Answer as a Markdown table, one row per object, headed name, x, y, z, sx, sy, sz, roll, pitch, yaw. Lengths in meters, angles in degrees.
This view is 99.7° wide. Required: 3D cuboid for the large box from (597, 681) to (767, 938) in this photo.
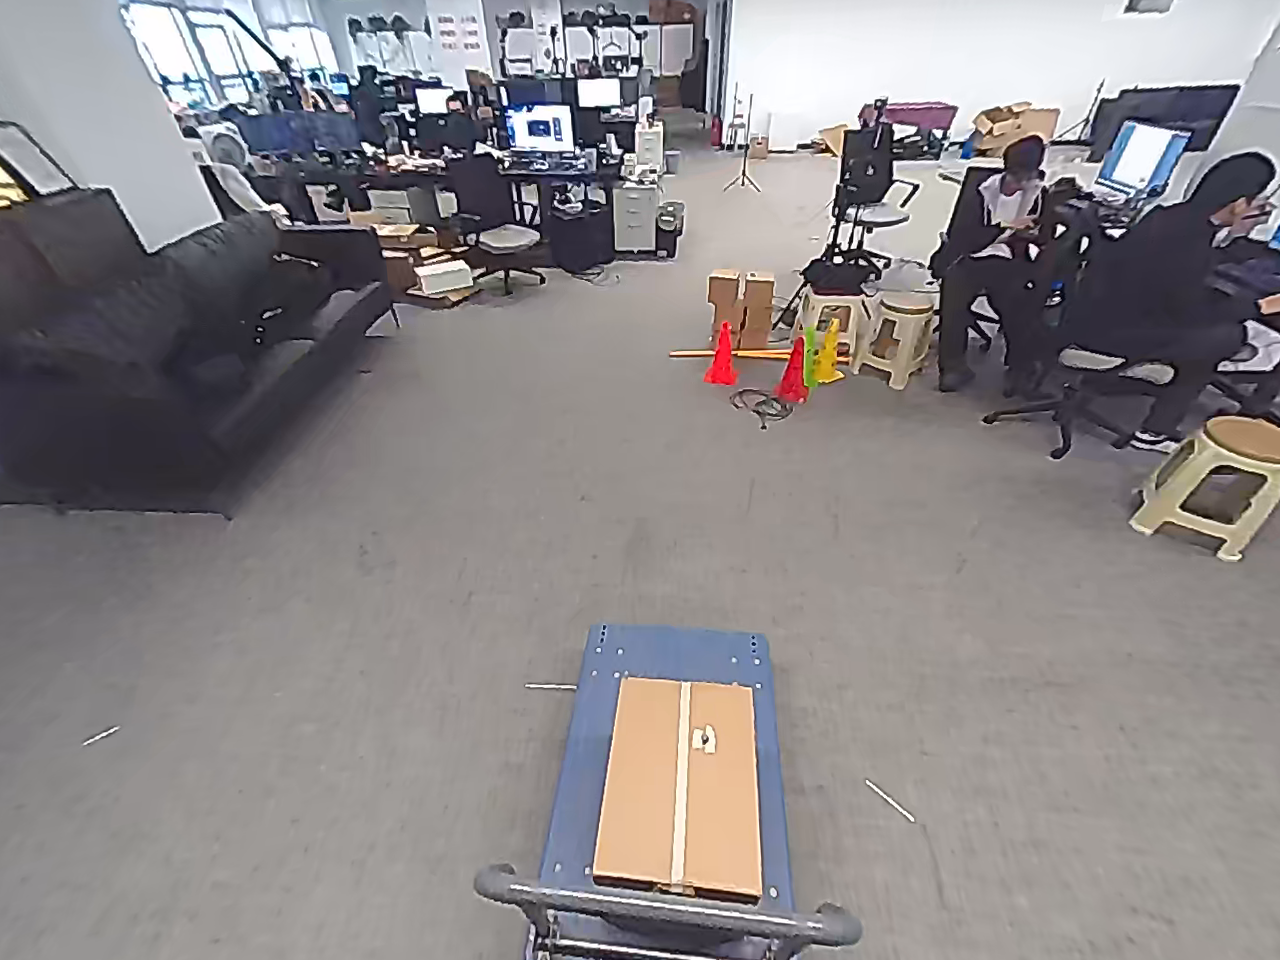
| name | x | y | z | sx | sy | sz | roll | pitch | yaw |
| --- | --- | --- | --- | --- | --- | --- | --- | --- | --- |
| large box | 0.095 | 0.723 | 1.209 | 0.320 | 0.320 | 0.408 | 3 | 38 | 5 |
